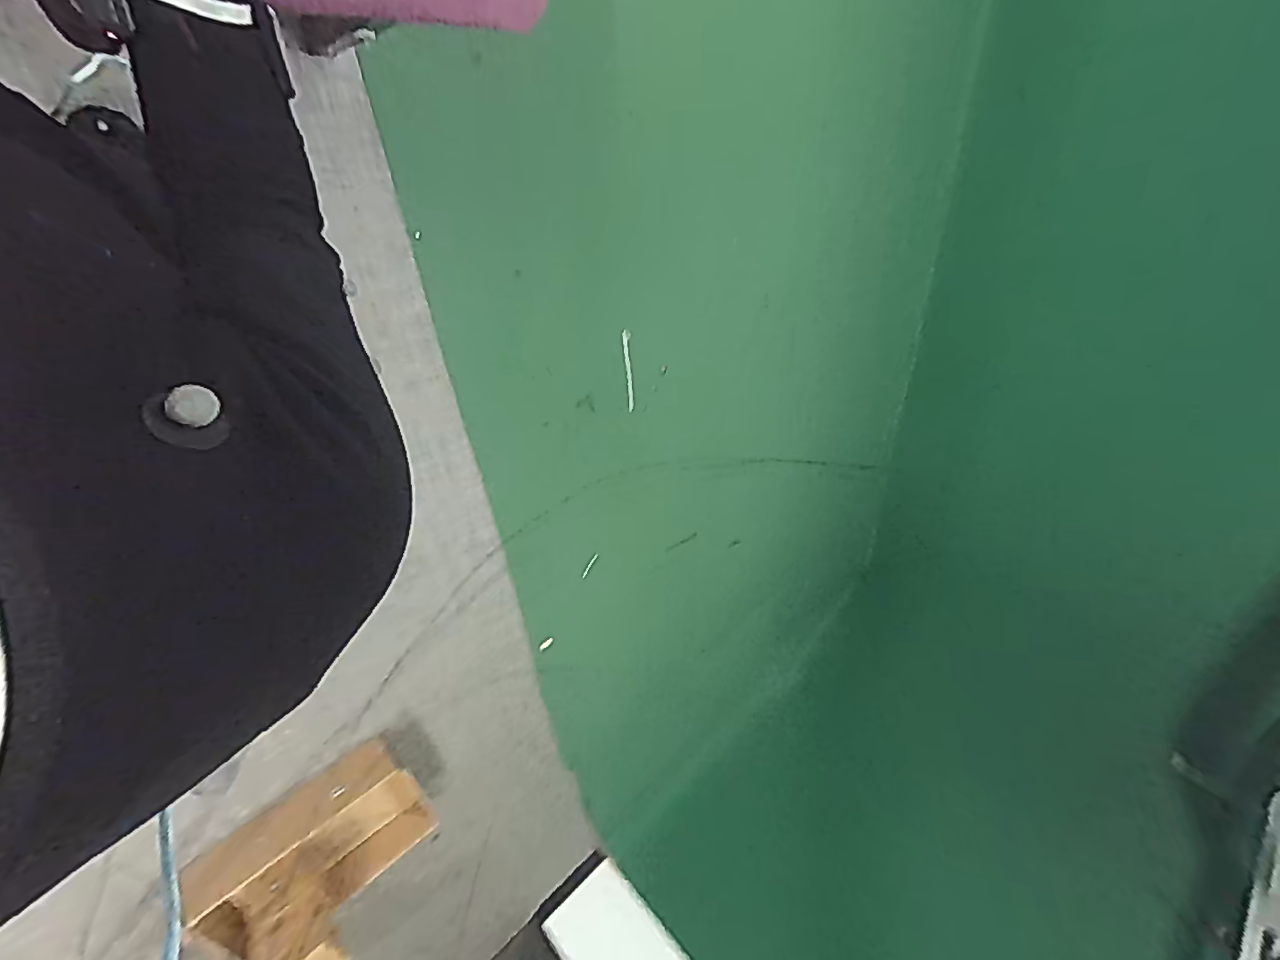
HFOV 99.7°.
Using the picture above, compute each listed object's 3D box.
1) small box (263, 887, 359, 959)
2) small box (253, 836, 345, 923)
[{"bbox_3d":[-0.975,1.359,1.599,0.168,0.176,0.179,-32,132,-31],"label":"small box"},{"bbox_3d":[-1.088,1.284,1.721,0.168,0.176,0.179,-37,135,-29],"label":"small box"}]
